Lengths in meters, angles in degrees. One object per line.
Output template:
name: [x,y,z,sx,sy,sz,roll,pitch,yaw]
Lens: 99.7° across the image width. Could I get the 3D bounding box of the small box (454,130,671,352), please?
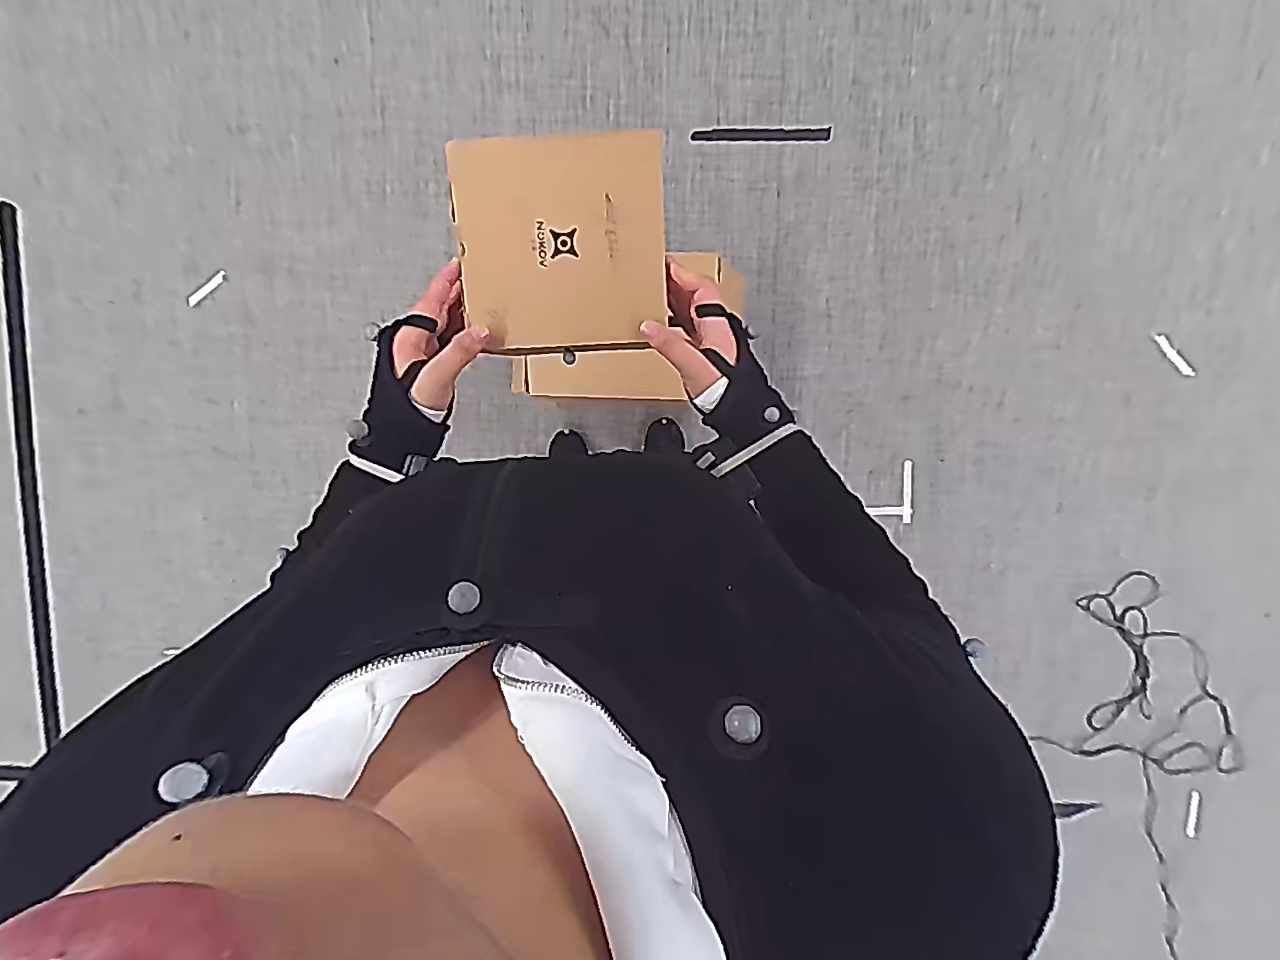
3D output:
small box: [-0.062,-0.217,0.534,0.179,0.176,0.168,-4,102,0]
